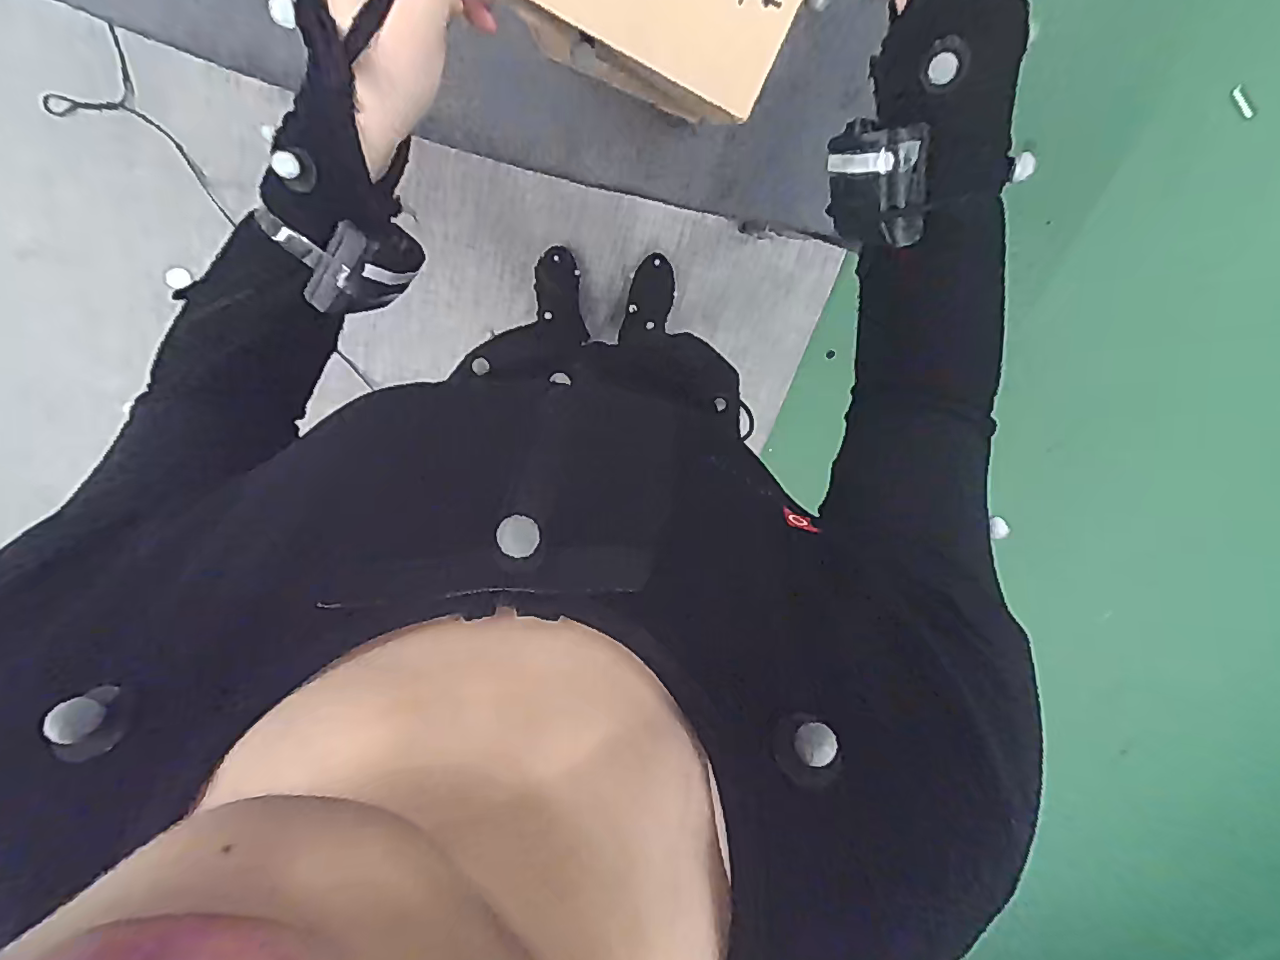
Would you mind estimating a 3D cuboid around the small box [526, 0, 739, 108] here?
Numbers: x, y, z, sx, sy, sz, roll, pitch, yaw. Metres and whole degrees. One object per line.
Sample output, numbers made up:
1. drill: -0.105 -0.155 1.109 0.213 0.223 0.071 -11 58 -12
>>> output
1. small box: 0.004 -0.451 0.461 0.179 0.176 0.168 18 114 -9
